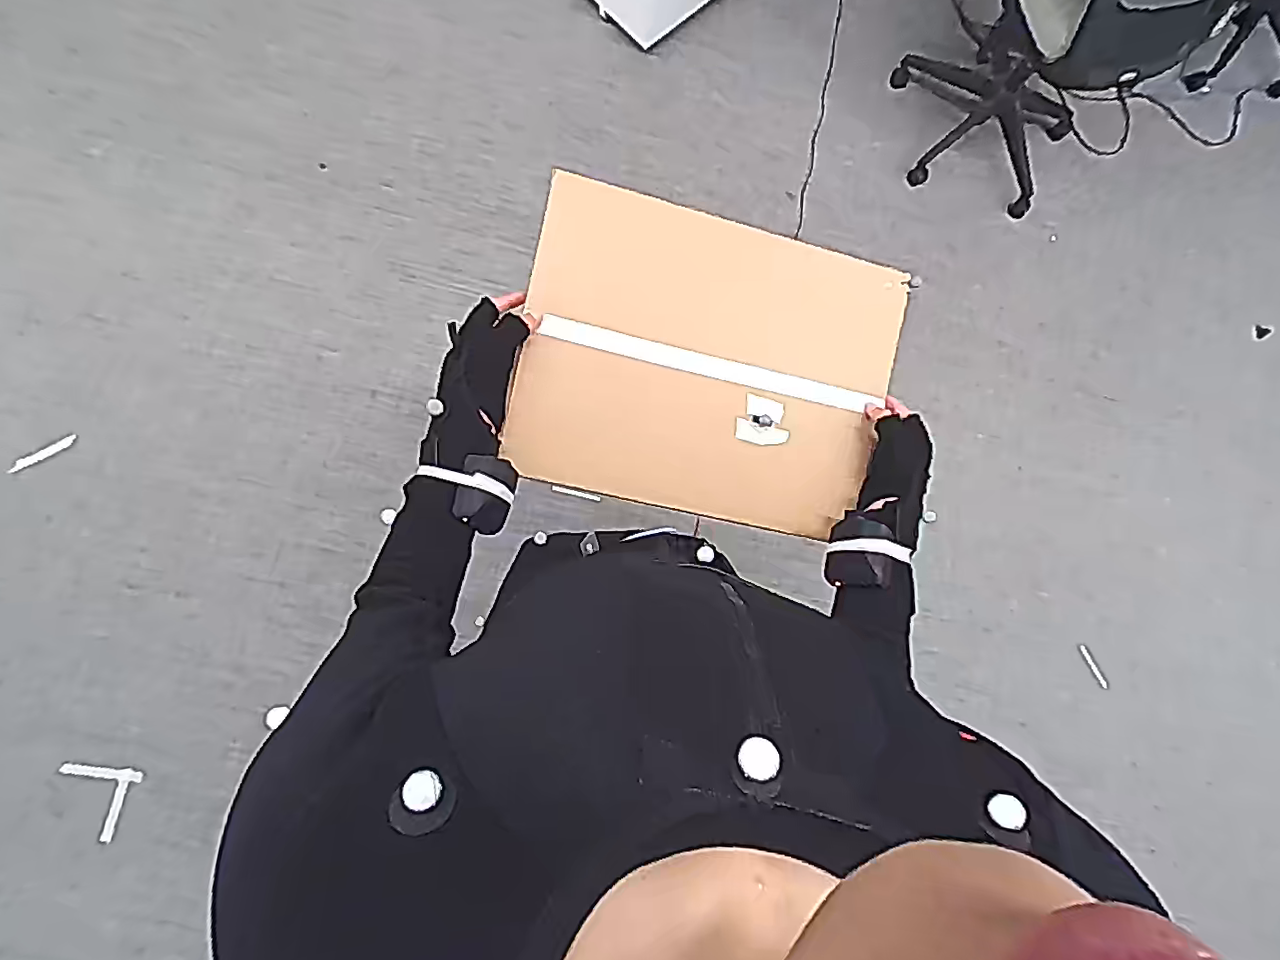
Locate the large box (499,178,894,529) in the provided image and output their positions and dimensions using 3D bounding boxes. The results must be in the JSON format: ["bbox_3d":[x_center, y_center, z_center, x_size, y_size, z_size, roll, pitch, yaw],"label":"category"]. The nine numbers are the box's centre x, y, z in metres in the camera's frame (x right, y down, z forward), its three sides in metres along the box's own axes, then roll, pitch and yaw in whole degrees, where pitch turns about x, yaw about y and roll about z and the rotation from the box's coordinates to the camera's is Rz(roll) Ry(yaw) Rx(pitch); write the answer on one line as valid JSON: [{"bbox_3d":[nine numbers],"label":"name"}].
[{"bbox_3d":[0.049,-0.134,0.739,0.408,0.320,0.320,13,91,-9],"label":"large box"}]
